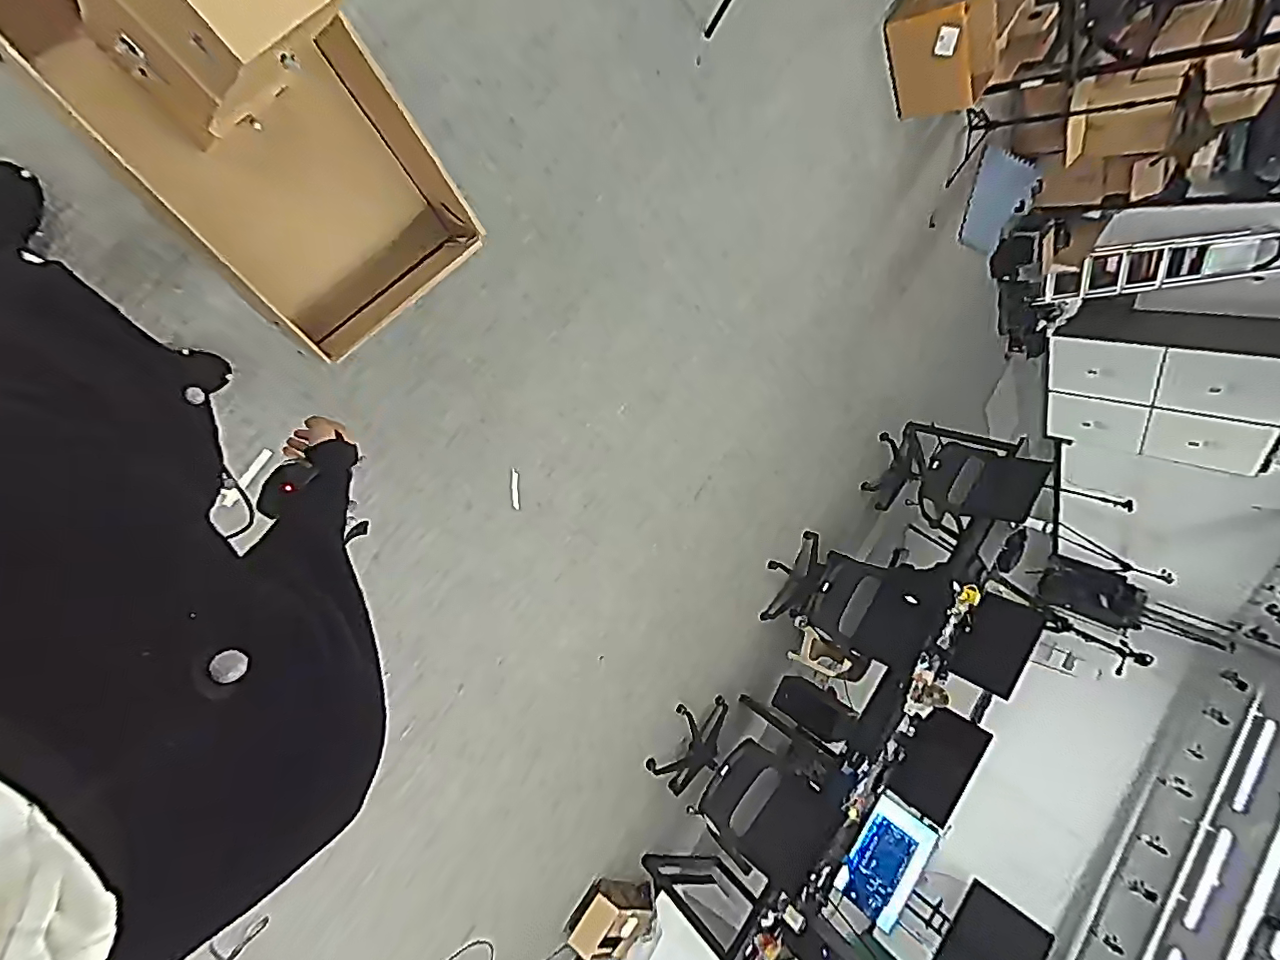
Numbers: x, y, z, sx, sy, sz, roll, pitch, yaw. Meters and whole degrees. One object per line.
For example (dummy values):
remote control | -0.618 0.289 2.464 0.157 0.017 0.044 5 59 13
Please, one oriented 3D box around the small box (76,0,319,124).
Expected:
small box | -0.542 -0.577 0.659 0.179 0.176 0.168 -53 134 -13

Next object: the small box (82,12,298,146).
small box | -0.646 -0.618 0.779 0.168 0.176 0.179 -51 135 -14
